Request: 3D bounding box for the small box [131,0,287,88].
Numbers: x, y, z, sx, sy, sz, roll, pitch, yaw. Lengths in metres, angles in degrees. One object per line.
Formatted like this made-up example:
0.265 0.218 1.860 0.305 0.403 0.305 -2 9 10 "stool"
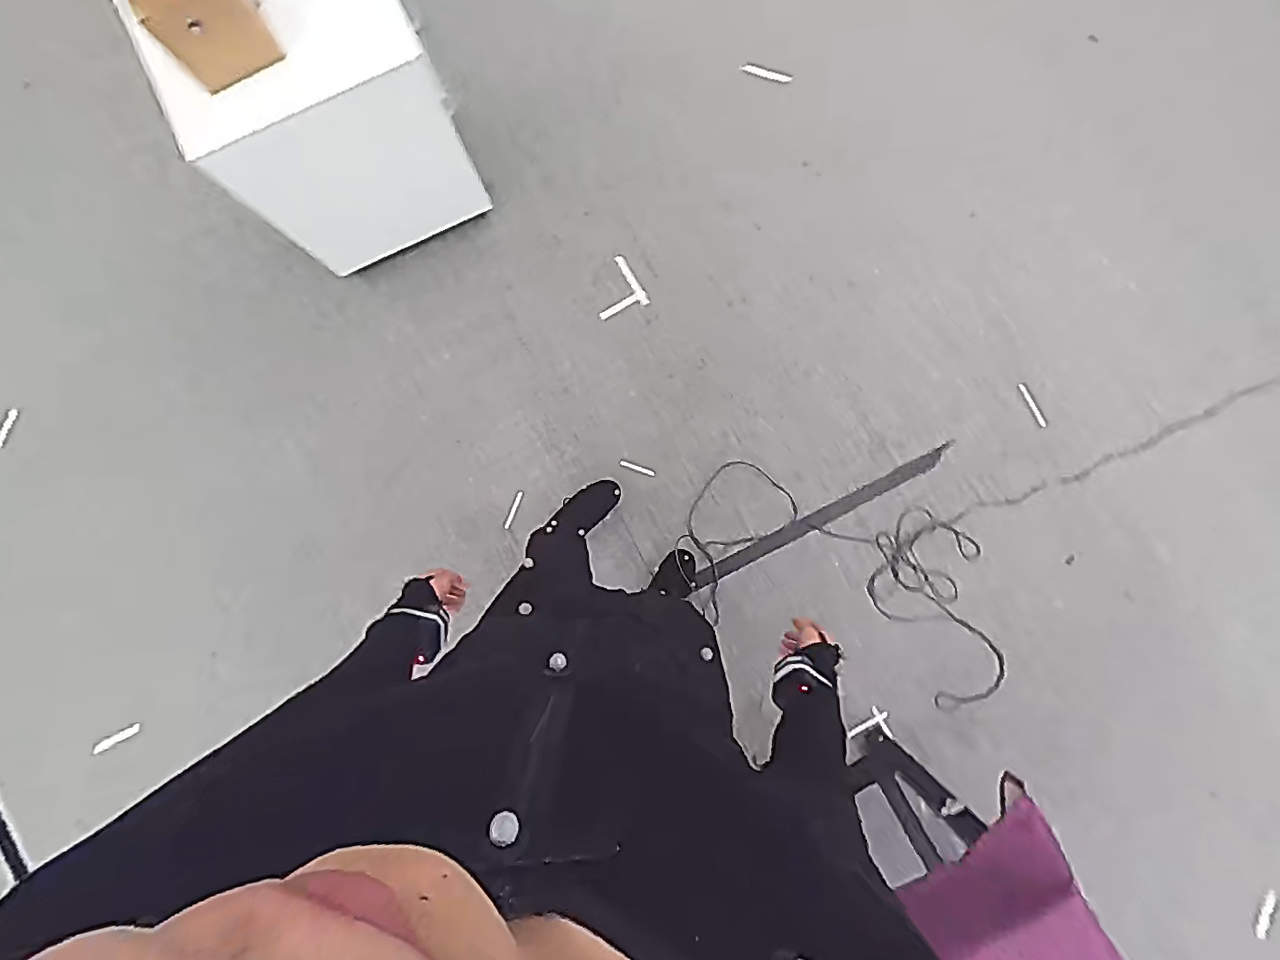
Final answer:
-0.825 -0.899 1.023 0.179 0.176 0.168 -28 87 -2 "small box"
